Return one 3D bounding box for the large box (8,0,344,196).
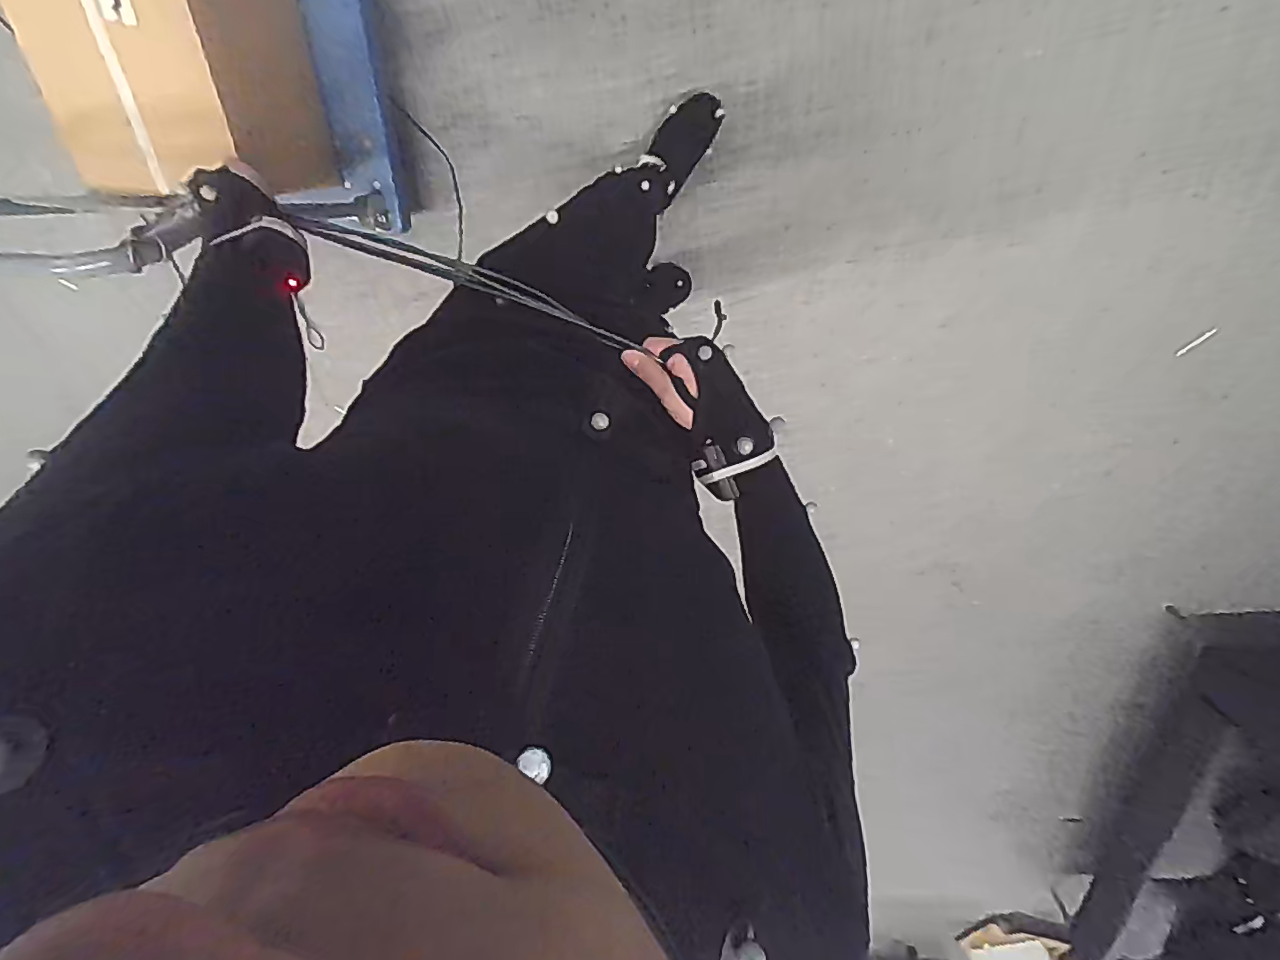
[{"bbox_3d":[-0.823,-0.758,0.997,0.320,0.320,0.408,3,121,4],"label":"large box"}]
